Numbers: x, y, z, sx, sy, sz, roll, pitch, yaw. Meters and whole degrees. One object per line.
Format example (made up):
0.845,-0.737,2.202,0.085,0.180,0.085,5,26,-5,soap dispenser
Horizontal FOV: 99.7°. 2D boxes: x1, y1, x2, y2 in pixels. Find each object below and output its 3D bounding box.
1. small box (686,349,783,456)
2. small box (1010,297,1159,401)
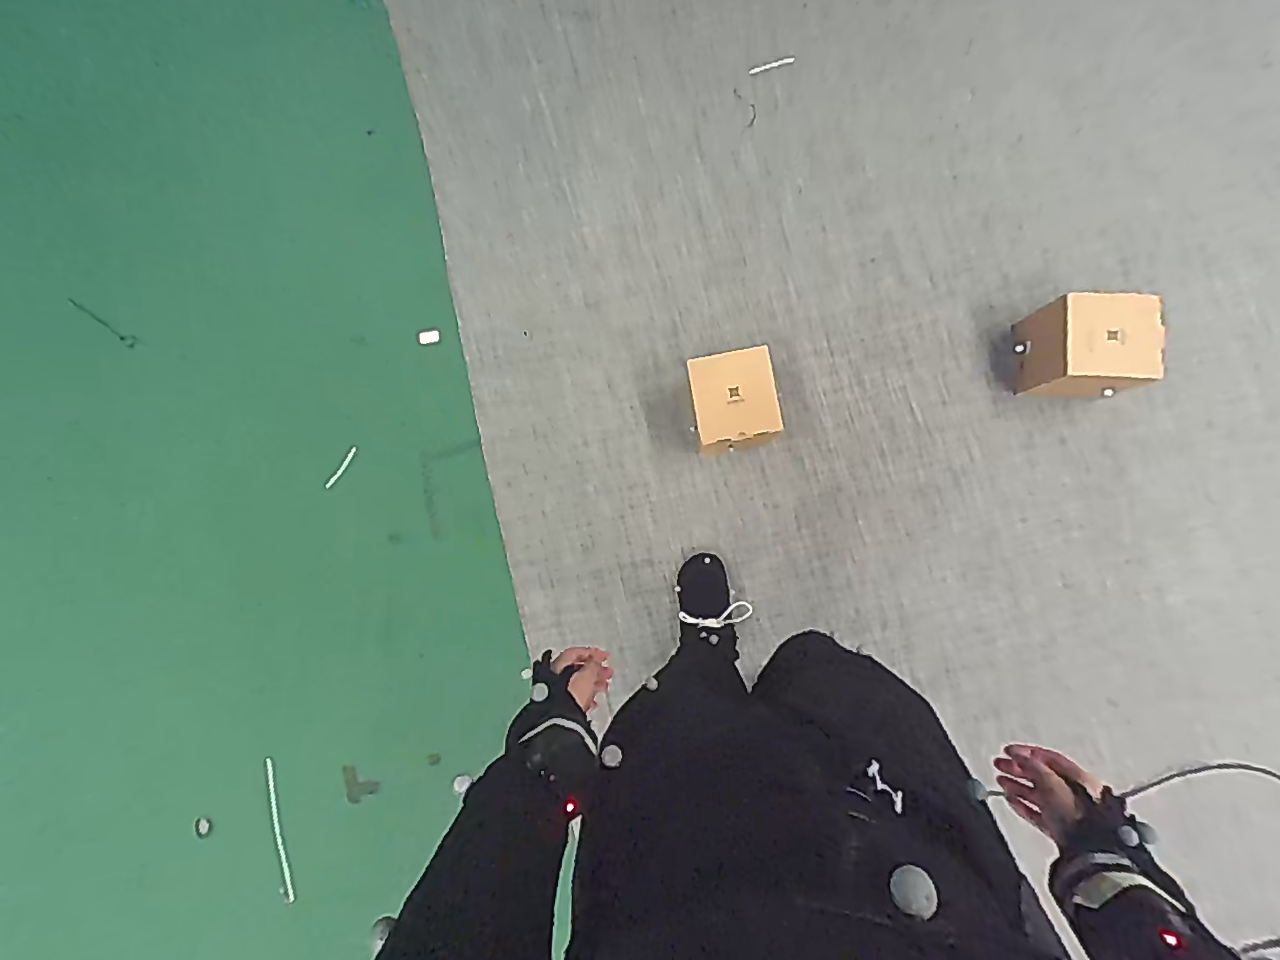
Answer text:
0.192,-0.157,1.150,0.168,0.176,0.179,-10,85,3,small box
0.903,-0.263,1.112,0.179,0.176,0.168,2,85,5,small box
